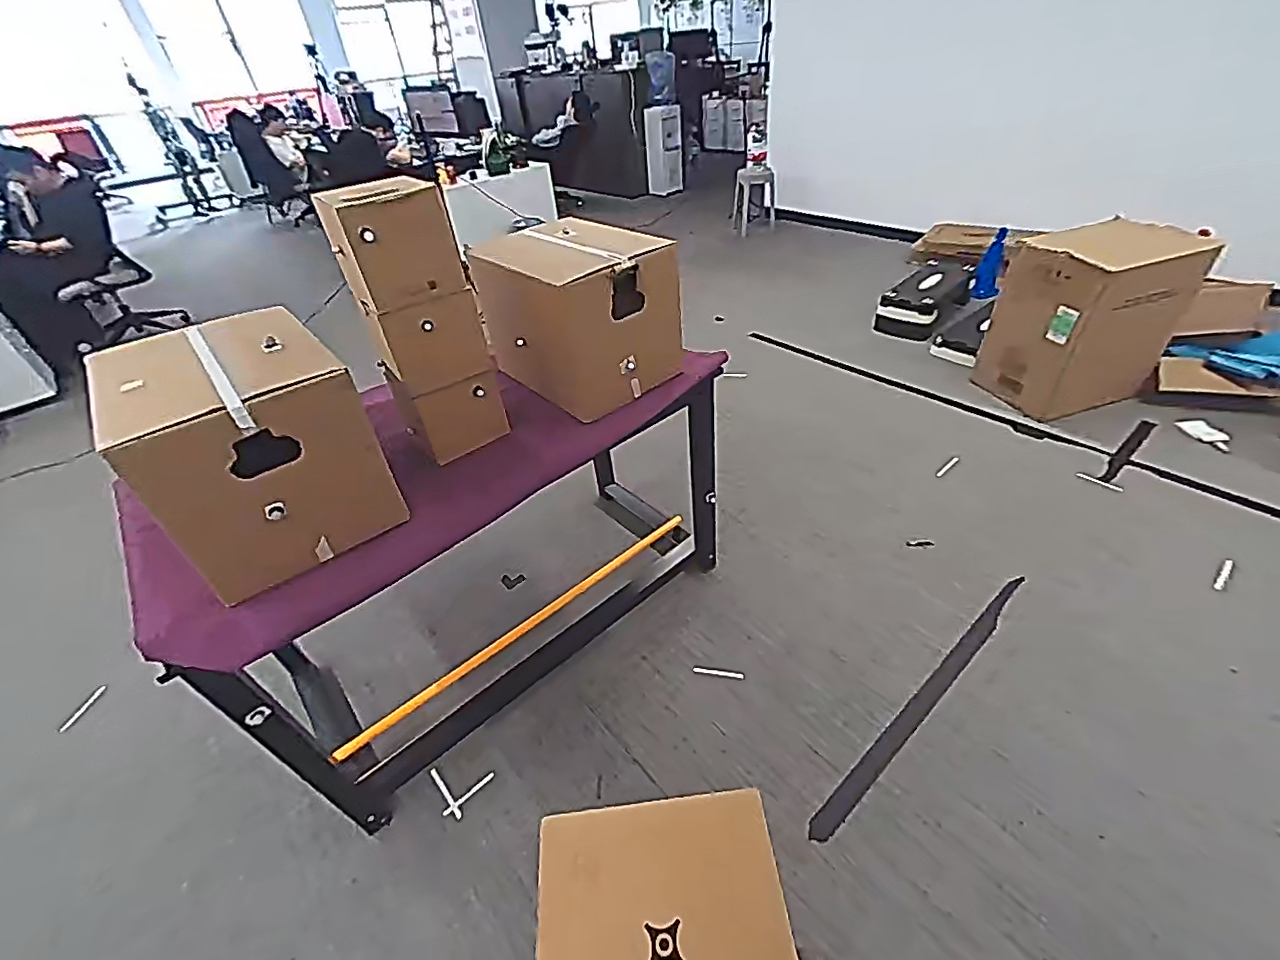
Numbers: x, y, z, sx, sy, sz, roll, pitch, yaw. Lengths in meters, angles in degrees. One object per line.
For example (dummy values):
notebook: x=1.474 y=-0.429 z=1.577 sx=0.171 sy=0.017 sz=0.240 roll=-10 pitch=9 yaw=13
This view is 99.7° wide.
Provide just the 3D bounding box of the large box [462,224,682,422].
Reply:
large box: x=-0.151 y=-0.387 z=1.288 sx=0.320 sy=0.320 sz=0.408 roll=-32 pitch=44 yaw=-29
